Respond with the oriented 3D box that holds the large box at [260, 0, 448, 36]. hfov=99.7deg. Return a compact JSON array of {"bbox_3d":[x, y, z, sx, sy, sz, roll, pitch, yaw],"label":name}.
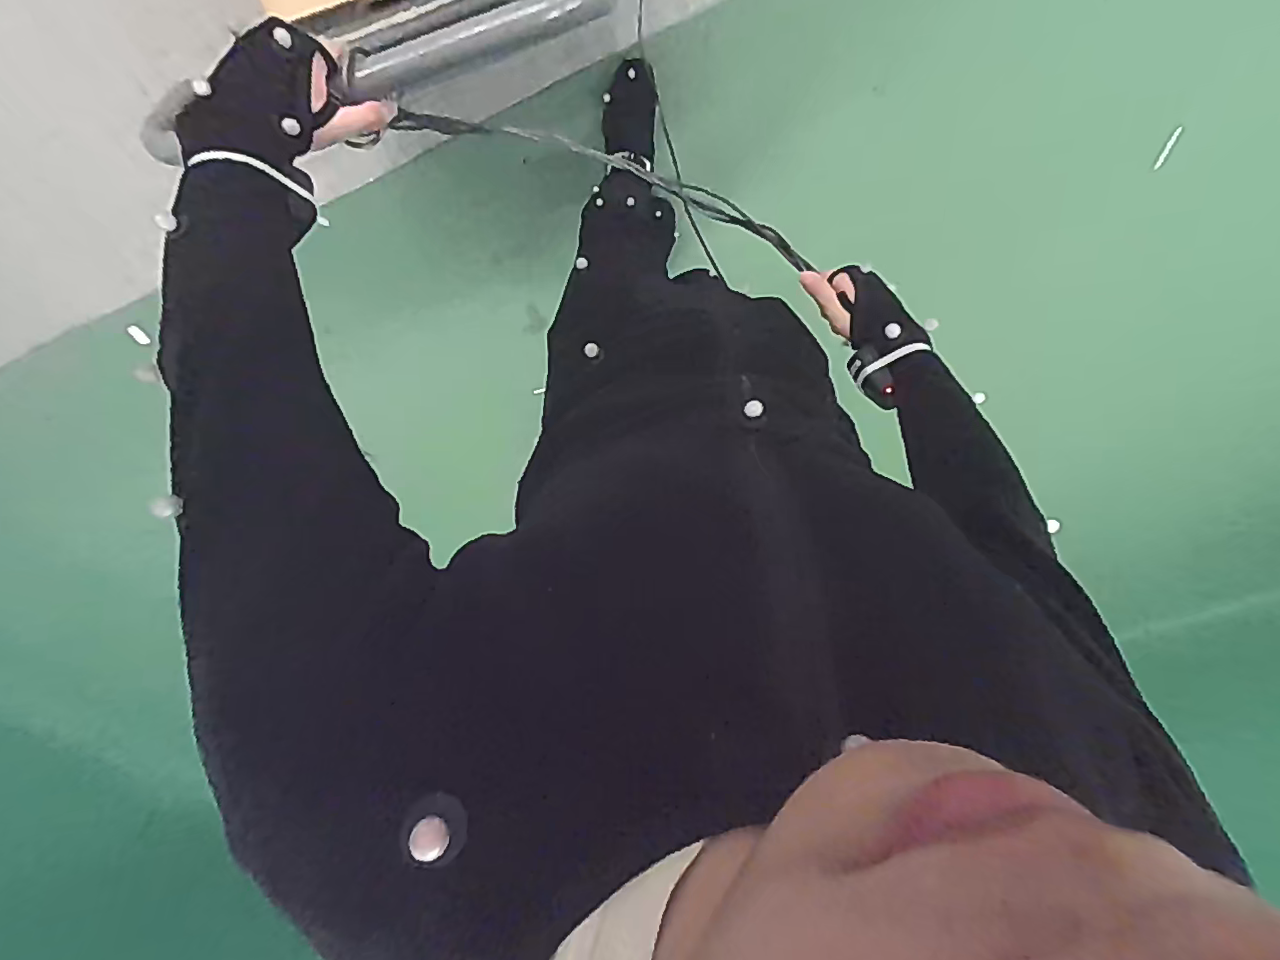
[{"bbox_3d":[-0.411,-0.892,0.719,0.320,0.320,0.408,-15,127,5],"label":"large box"}]
